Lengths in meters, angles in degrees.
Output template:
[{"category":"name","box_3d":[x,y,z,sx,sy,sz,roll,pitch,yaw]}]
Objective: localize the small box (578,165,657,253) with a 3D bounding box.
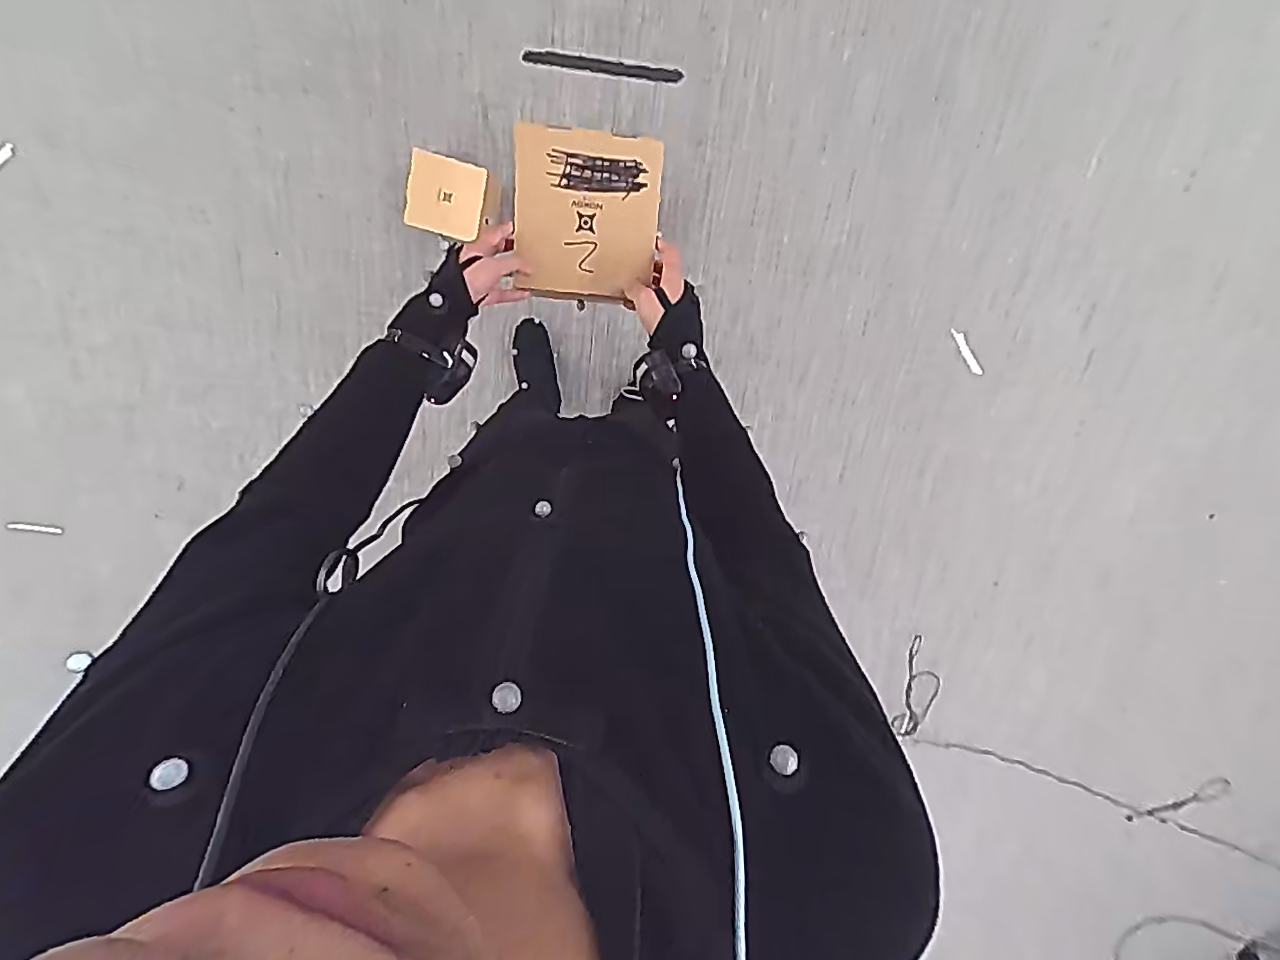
[{"category":"small box","box_3d":[-0.057,-0.670,1.354,0.179,0.176,0.168,5,109,-4]}]

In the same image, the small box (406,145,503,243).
[{"category":"small box","box_3d":[-0.452,-0.696,1.337,0.179,0.176,0.168,14,108,-5]}]
